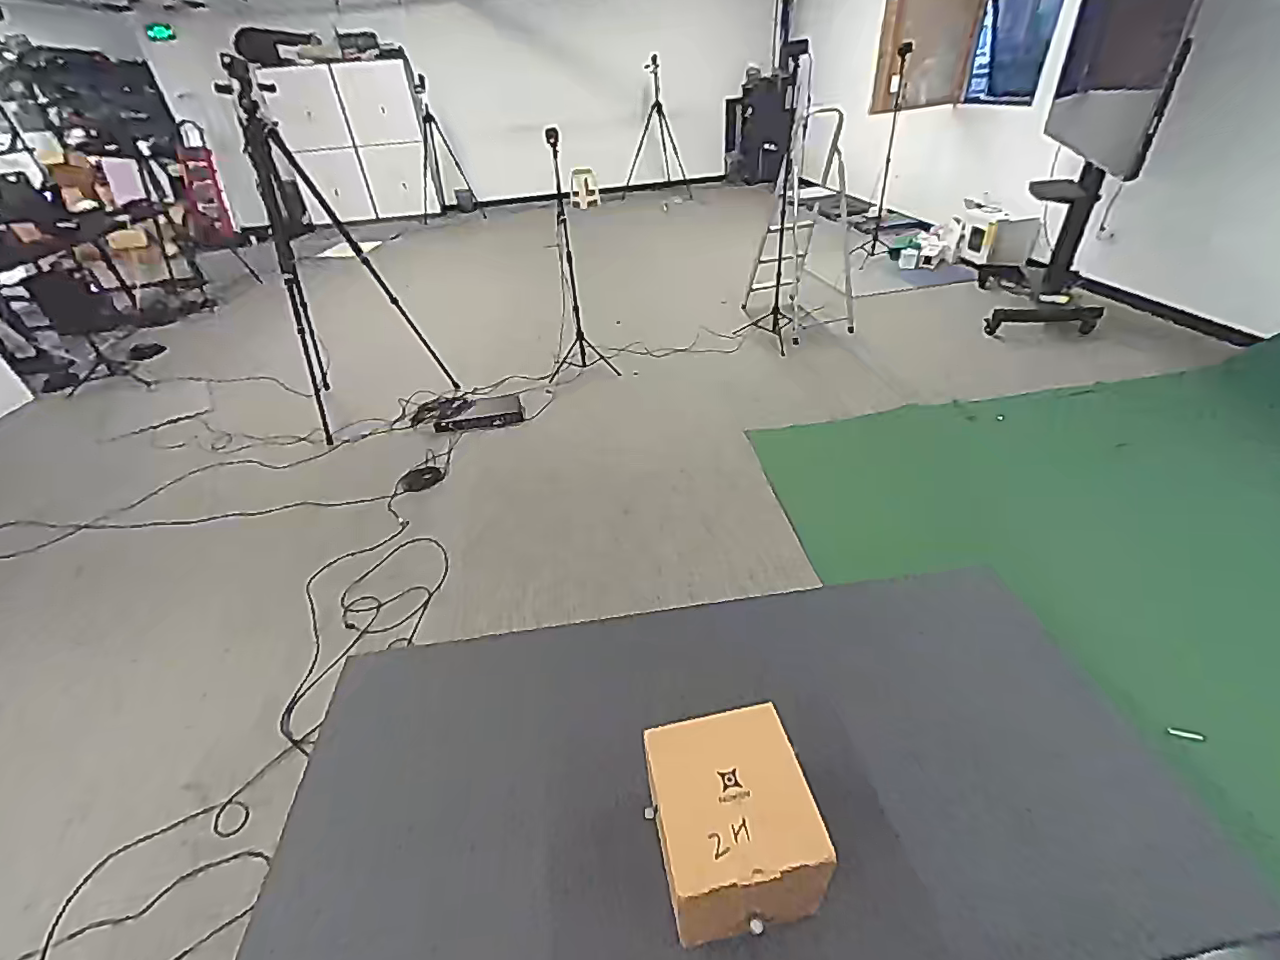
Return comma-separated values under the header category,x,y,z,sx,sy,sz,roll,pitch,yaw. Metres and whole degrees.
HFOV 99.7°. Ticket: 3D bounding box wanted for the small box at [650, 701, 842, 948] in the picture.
category,x,y,z,sx,sy,sz,roll,pitch,yaw
small box,0.109,0.397,0.633,0.168,0.176,0.179,-10,36,-6
